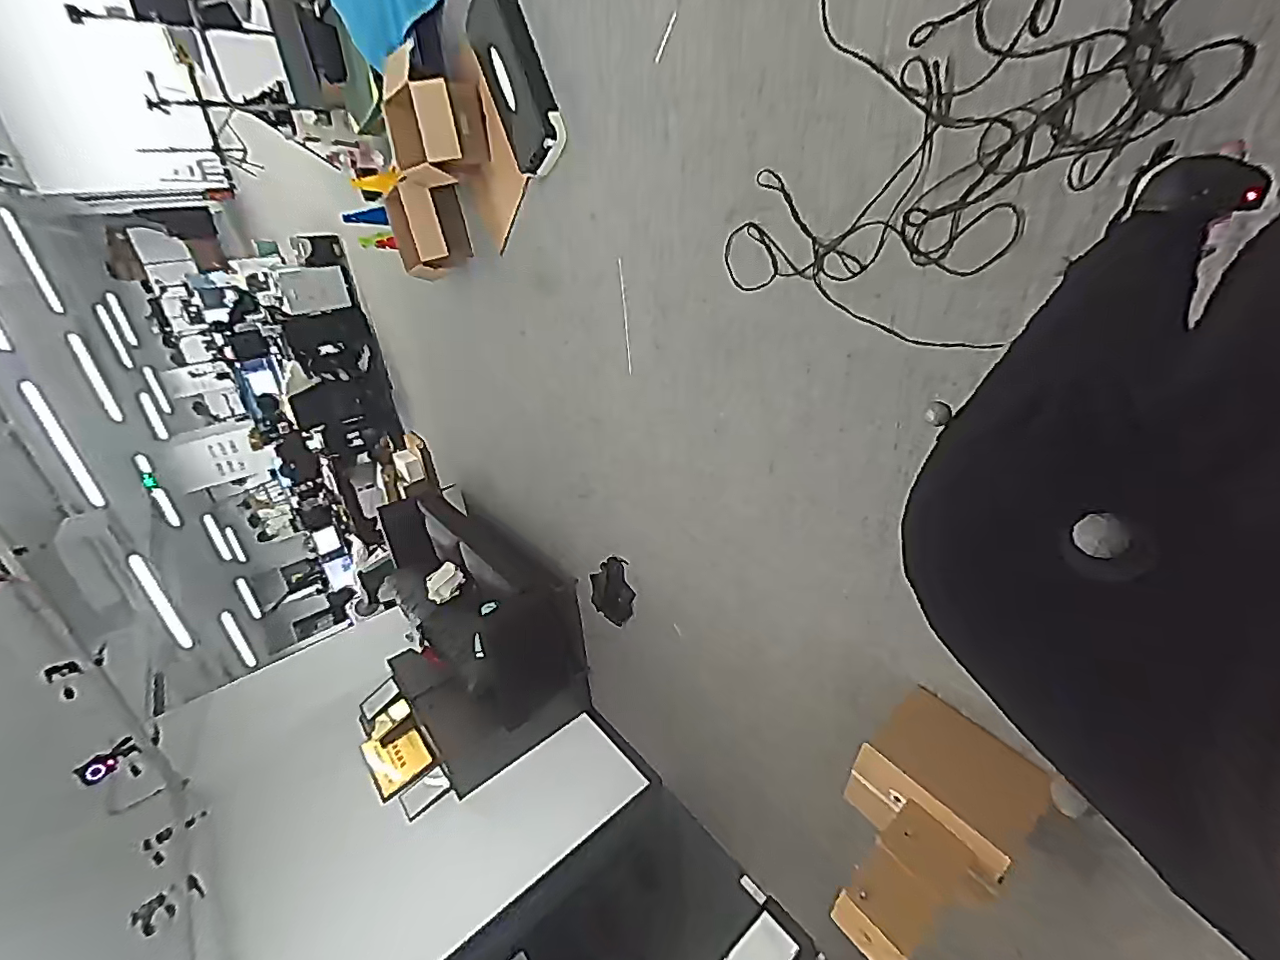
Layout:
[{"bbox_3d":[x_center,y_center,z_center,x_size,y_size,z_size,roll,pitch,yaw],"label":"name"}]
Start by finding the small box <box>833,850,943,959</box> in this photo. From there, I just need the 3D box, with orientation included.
[{"bbox_3d":[0.616,1.079,1.346,0.179,0.176,0.168,34,137,41],"label":"small box"}]

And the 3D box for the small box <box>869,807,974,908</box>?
[{"bbox_3d":[0.738,1.008,1.429,0.179,0.176,0.168,33,136,39],"label":"small box"}]

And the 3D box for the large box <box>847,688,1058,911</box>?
[{"bbox_3d":[0.899,0.913,1.589,0.408,0.320,0.320,34,135,41],"label":"large box"}]
